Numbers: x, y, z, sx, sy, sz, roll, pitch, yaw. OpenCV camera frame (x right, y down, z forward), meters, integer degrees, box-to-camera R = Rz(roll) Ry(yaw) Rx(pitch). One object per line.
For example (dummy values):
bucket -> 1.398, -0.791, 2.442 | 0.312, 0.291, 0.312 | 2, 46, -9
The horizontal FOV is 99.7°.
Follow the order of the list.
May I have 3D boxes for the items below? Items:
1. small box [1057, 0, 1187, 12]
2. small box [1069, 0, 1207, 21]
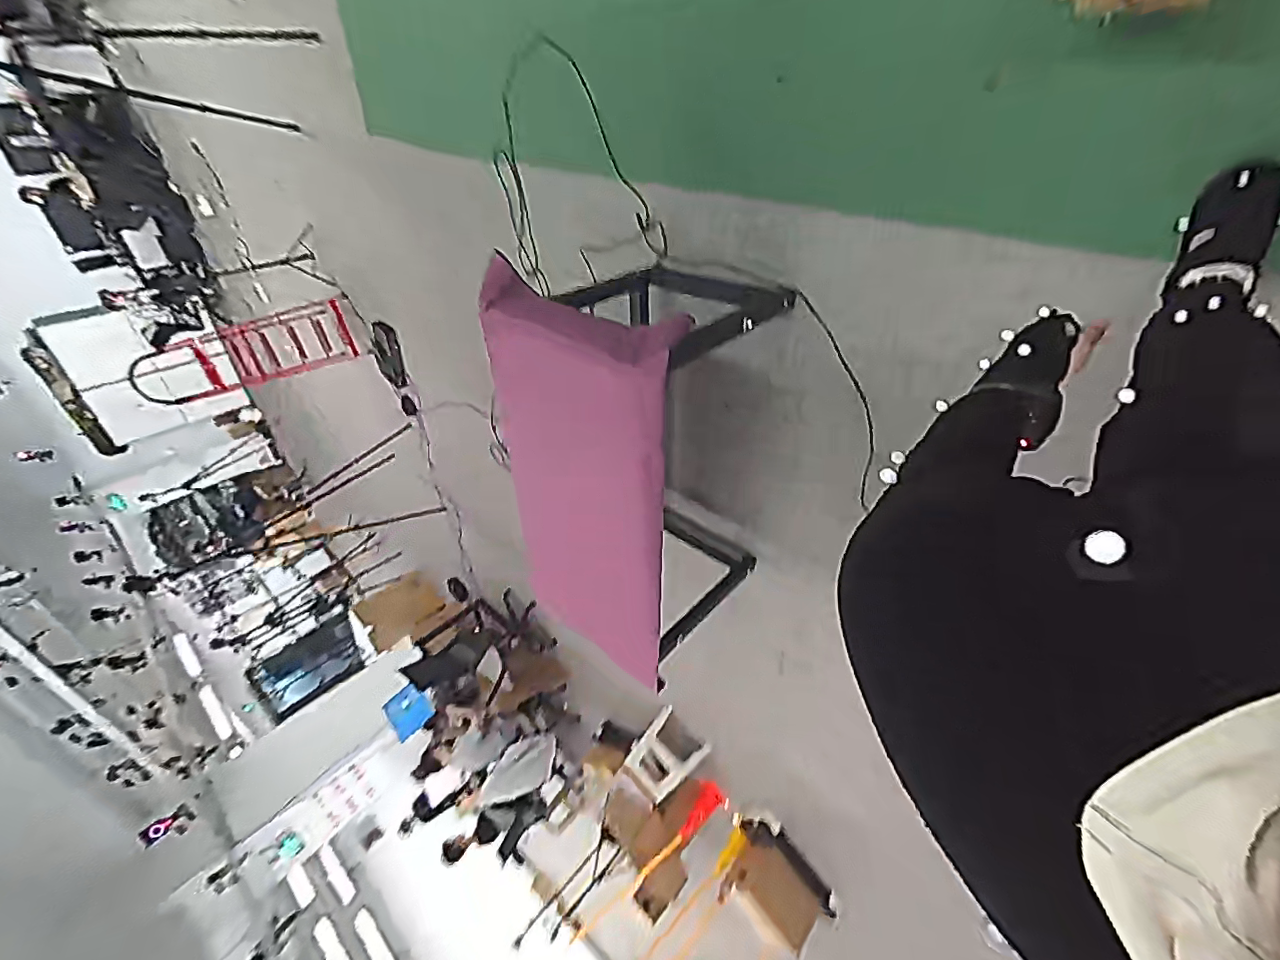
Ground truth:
small box -> 0.726, -0.788, 0.760 | 0.168, 0.176, 0.179 | 26, 134, 35
small box -> 0.834, -0.854, 0.863 | 0.168, 0.176, 0.179 | 27, 133, 34
